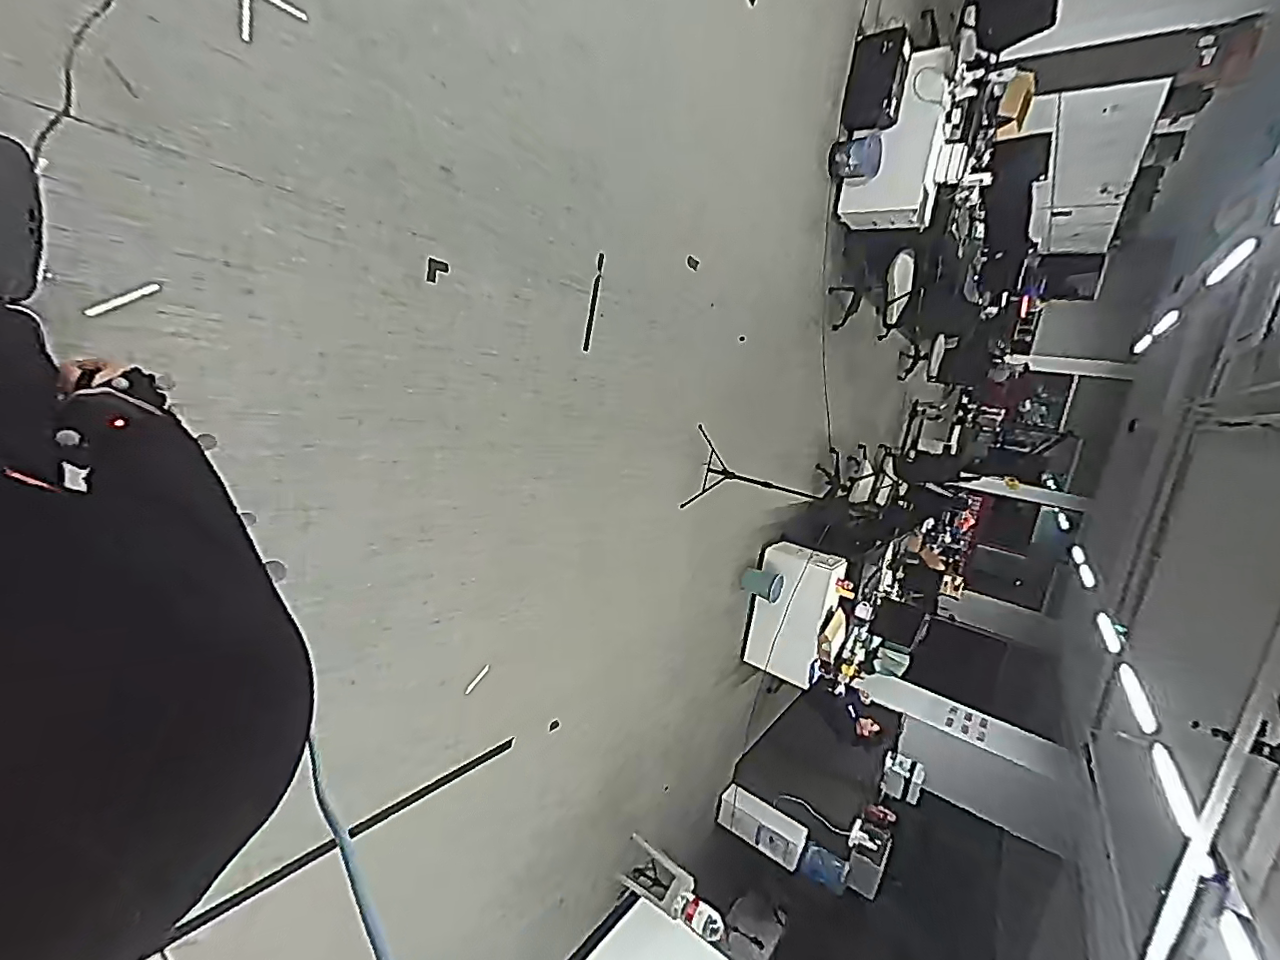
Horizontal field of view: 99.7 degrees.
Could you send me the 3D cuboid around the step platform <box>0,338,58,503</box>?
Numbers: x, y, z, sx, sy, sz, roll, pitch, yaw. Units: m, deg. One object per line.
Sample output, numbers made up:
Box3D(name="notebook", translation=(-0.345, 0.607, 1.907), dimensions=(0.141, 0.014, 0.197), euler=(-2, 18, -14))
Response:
Box3D(name="step platform", translation=(-1.311, -0.120, 0.753), dimensions=(0.684, 0.204, 0.286), euler=(4, 98, -53))
